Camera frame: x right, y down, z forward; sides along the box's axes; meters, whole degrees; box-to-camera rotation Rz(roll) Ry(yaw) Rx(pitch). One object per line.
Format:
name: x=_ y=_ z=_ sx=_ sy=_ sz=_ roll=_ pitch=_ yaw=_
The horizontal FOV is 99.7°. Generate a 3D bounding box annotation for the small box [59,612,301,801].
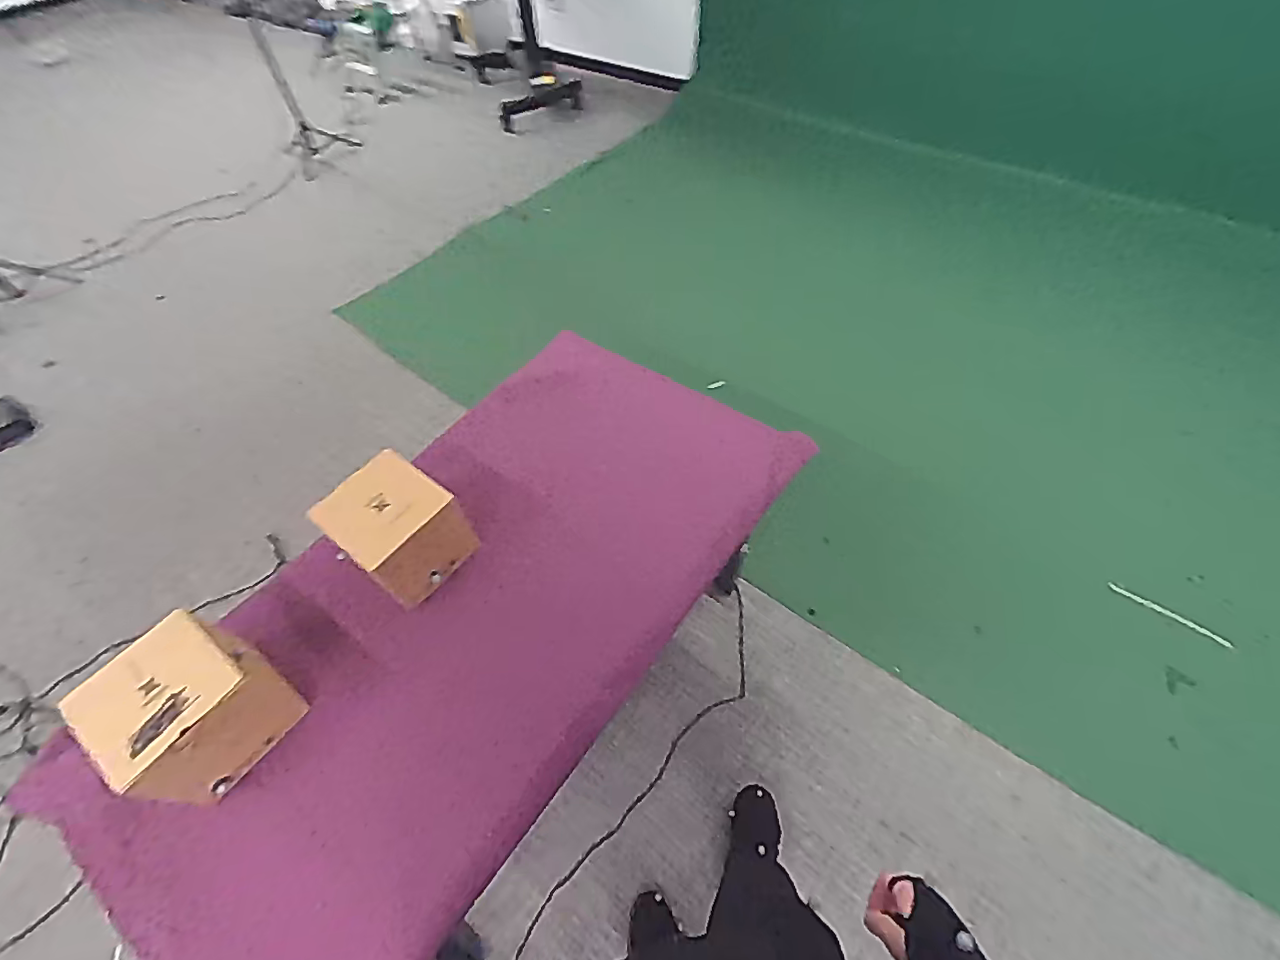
small box: x=-0.633 y=0.326 z=0.768 sx=0.179 sy=0.176 sz=0.168 roll=29 pitch=60 yaw=22

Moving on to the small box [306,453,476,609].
small box: x=-0.416 y=0.092 z=0.930 sx=0.179 sy=0.176 sz=0.168 roll=31 pitch=62 yaw=22
